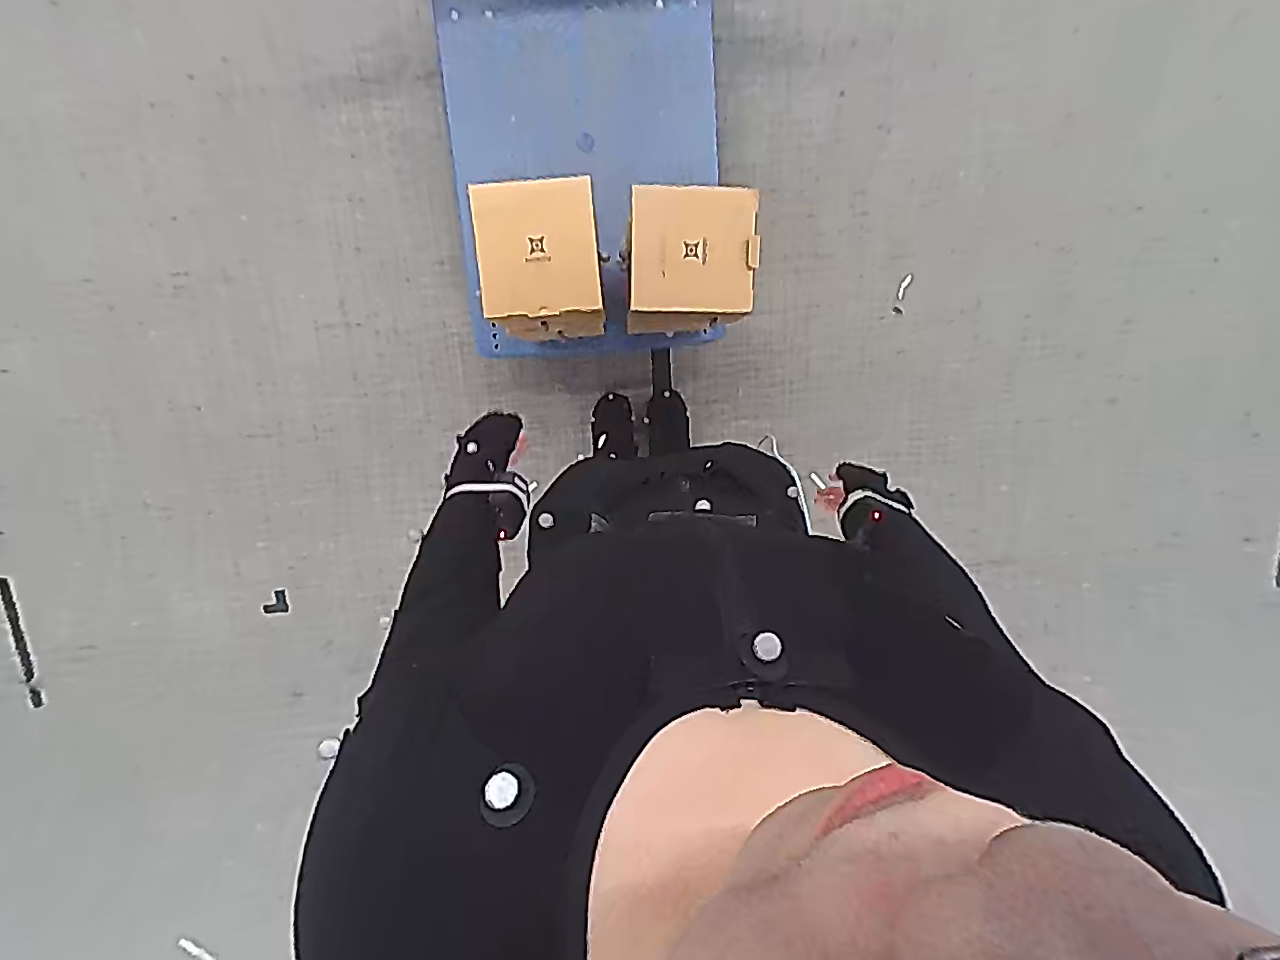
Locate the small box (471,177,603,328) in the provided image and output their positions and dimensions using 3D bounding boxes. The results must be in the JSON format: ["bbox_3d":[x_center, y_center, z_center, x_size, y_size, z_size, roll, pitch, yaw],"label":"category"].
[{"bbox_3d":[-0.144,-0.332,0.818,0.168,0.176,0.179,-5,102,-2],"label":"small box"}]

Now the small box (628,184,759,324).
[{"bbox_3d":[0.072,-0.334,0.827,0.179,0.176,0.168,0,100,-2],"label":"small box"}]

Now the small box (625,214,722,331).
[{"bbox_3d":[0.059,-0.371,0.987,0.168,0.176,0.179,-3,102,-2],"label":"small box"}]

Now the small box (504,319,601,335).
[{"bbox_3d":[-0.162,-0.361,0.978,0.168,0.176,0.179,-8,103,-2],"label":"small box"}]

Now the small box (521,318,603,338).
[{"bbox_3d":[-0.168,-0.395,1.139,0.168,0.176,0.179,-6,101,-2],"label":"small box"}]
